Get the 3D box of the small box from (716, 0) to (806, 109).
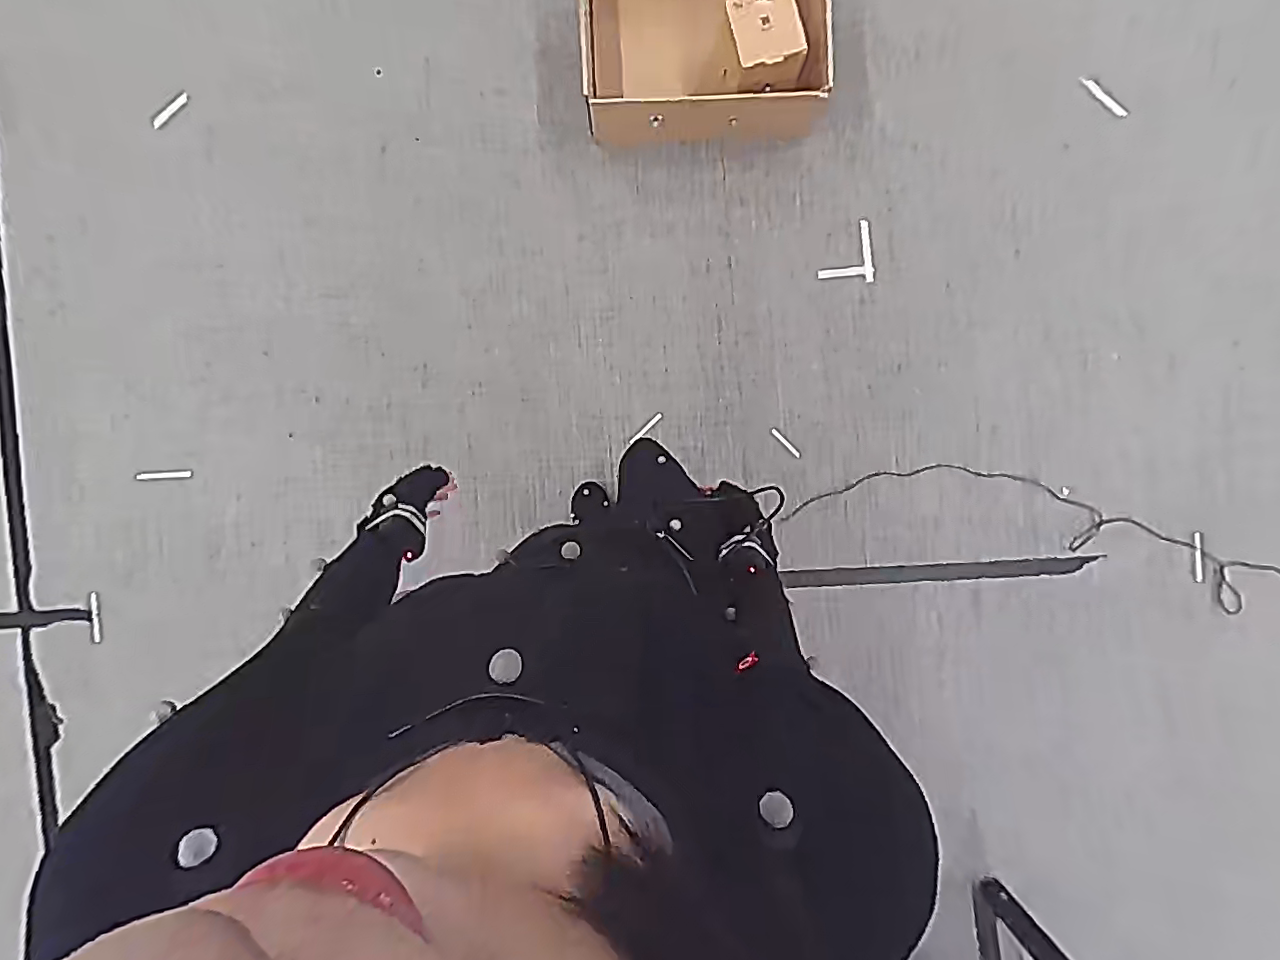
[{"bbox_3d":[0.301,-1.086,1.375,0.168,0.176,0.179,-15,90,0],"label":"small box"}]
